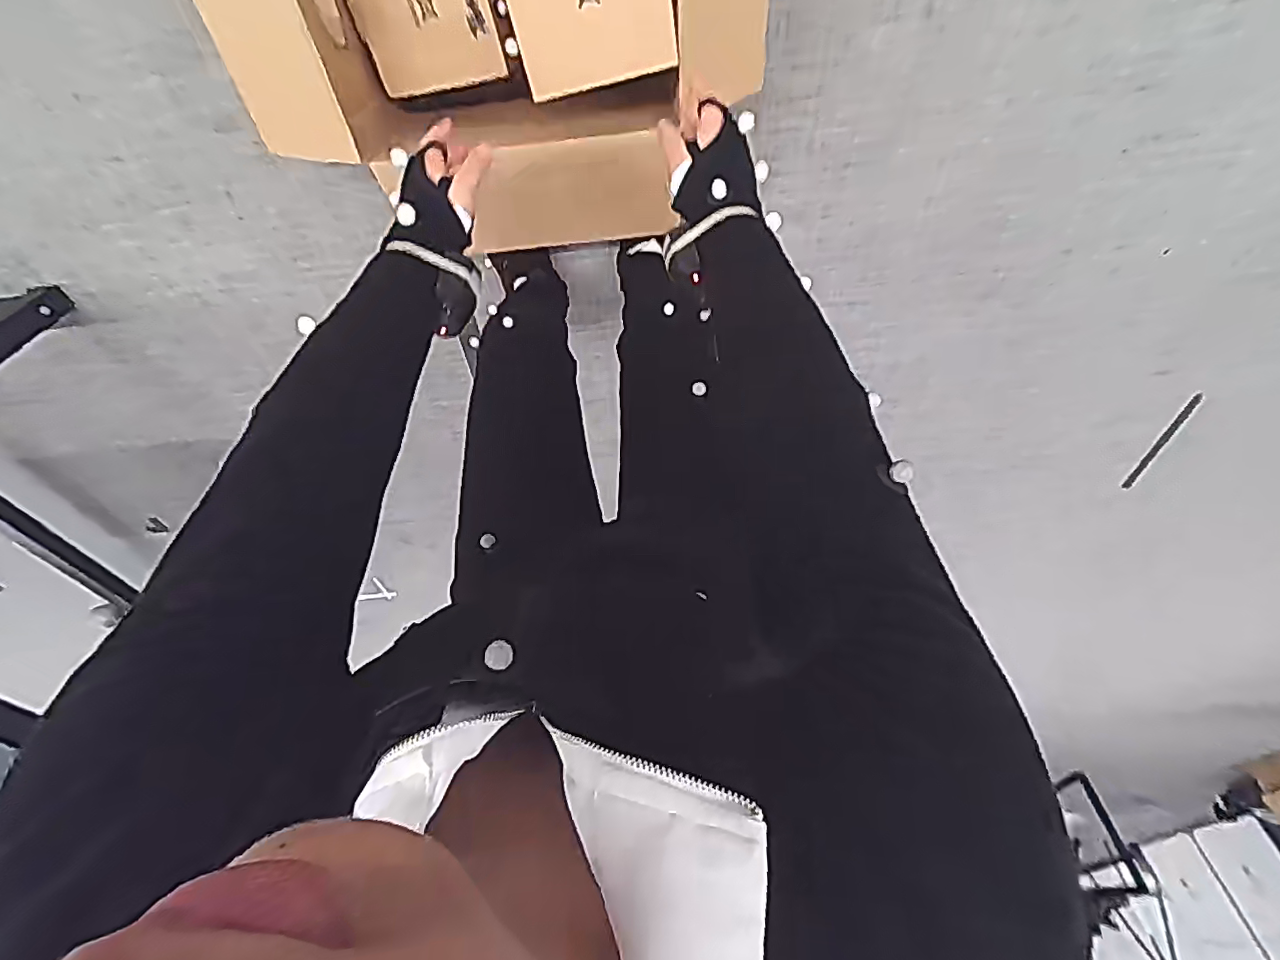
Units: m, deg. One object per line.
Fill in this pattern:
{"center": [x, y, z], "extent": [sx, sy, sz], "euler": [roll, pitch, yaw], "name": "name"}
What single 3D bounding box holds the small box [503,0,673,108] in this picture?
{"center": [-0.064, -0.547, 0.592], "extent": [0.168, 0.176, 0.179], "euler": [-12, 136, 3], "name": "small box"}
